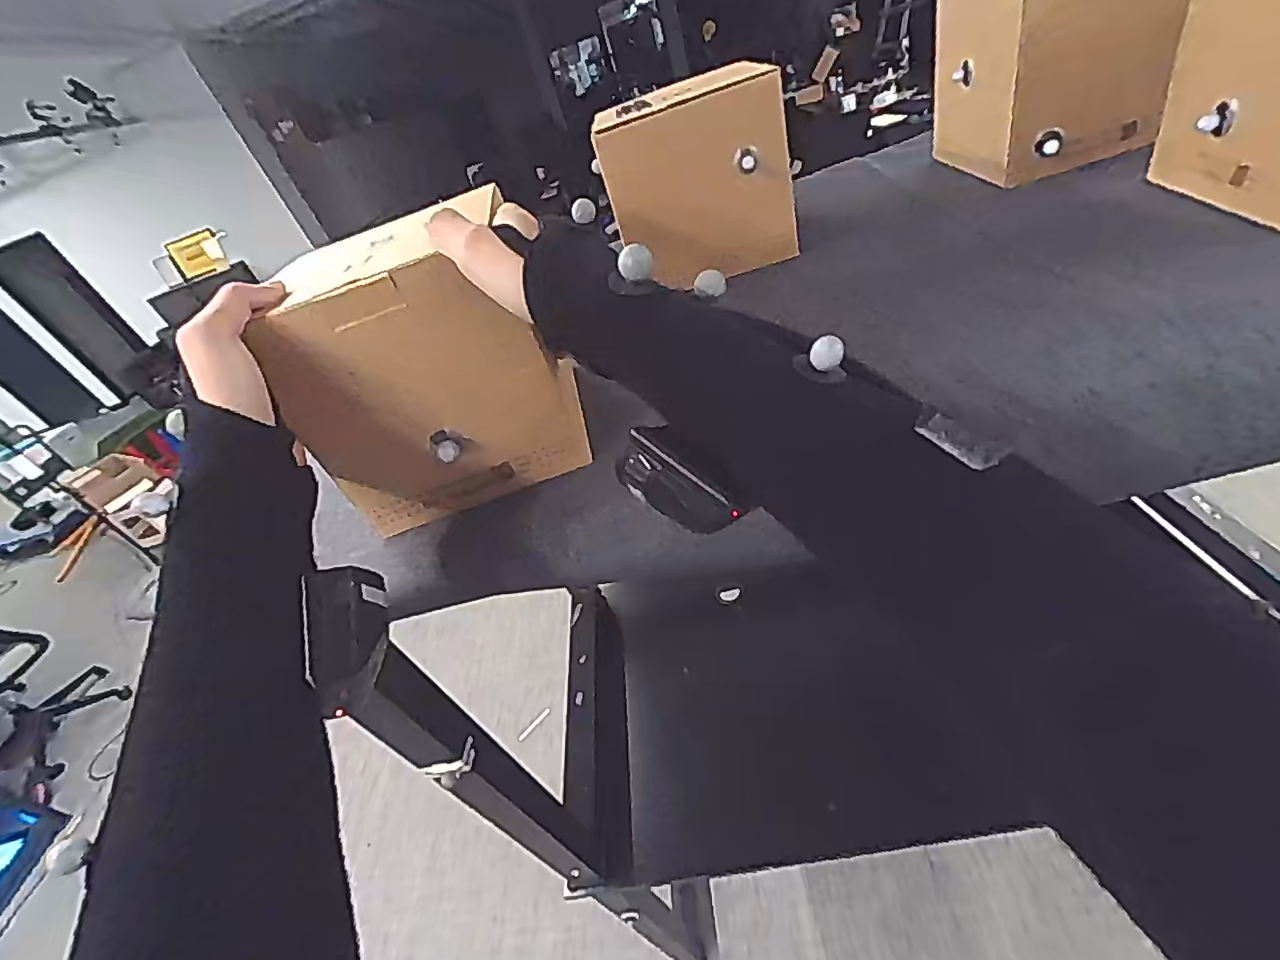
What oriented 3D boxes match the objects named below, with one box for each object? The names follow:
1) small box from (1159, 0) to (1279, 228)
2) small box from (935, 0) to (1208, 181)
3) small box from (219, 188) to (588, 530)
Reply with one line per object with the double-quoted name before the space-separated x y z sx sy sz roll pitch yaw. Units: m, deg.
"small box" 0.480 -0.279 0.327 0.179 0.176 0.168 -9 37 17
"small box" 0.412 -0.419 0.534 0.168 0.176 0.179 -14 37 11
"small box" -0.149 -0.094 0.411 0.168 0.176 0.179 -21 38 2
